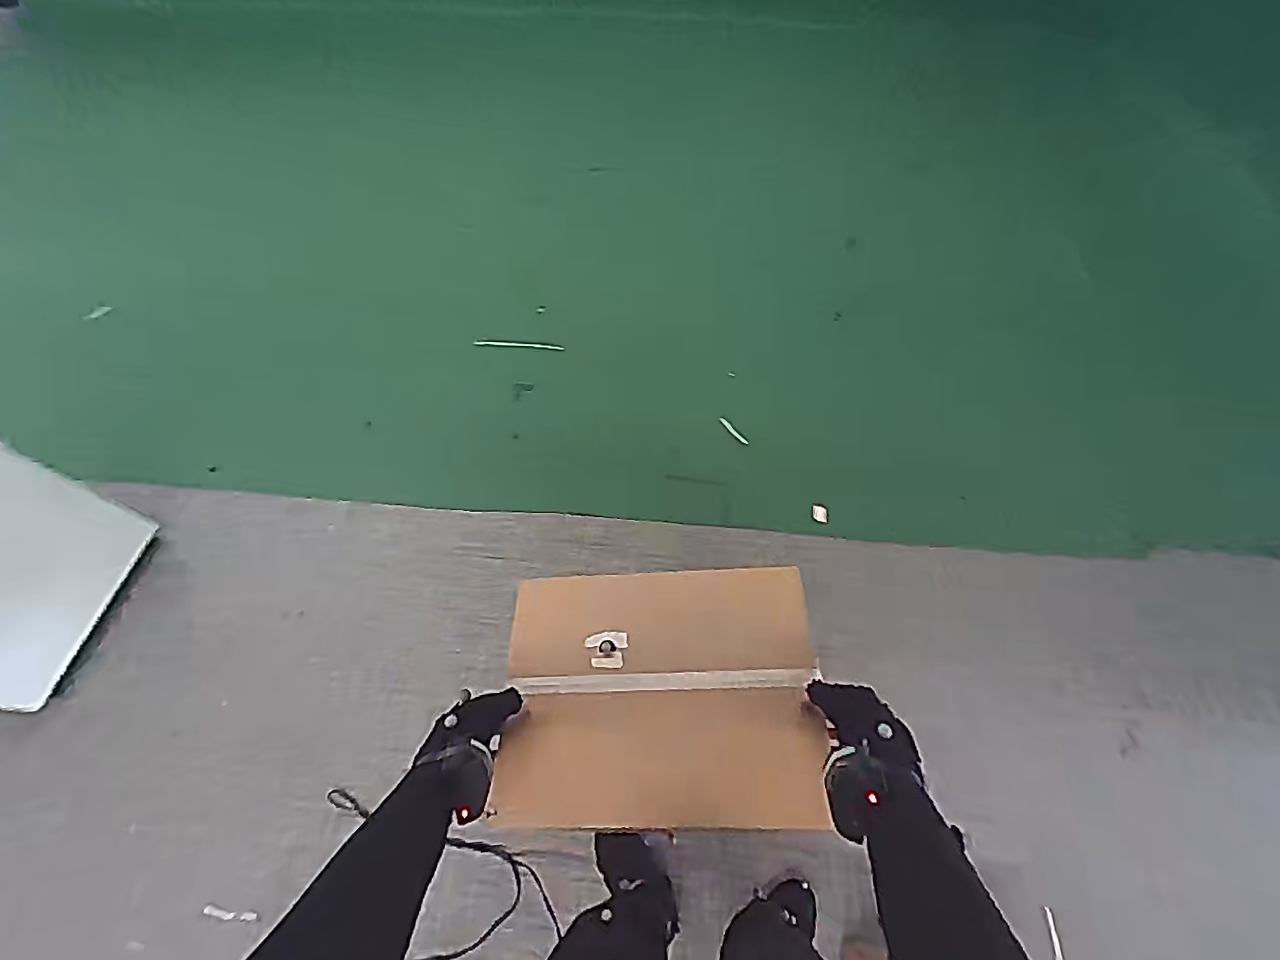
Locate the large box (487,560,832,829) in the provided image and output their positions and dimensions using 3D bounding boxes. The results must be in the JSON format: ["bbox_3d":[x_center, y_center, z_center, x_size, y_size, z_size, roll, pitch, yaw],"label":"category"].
[{"bbox_3d":[0.036,0.339,0.816,0.408,0.320,0.320,-5,55,7],"label":"large box"}]
